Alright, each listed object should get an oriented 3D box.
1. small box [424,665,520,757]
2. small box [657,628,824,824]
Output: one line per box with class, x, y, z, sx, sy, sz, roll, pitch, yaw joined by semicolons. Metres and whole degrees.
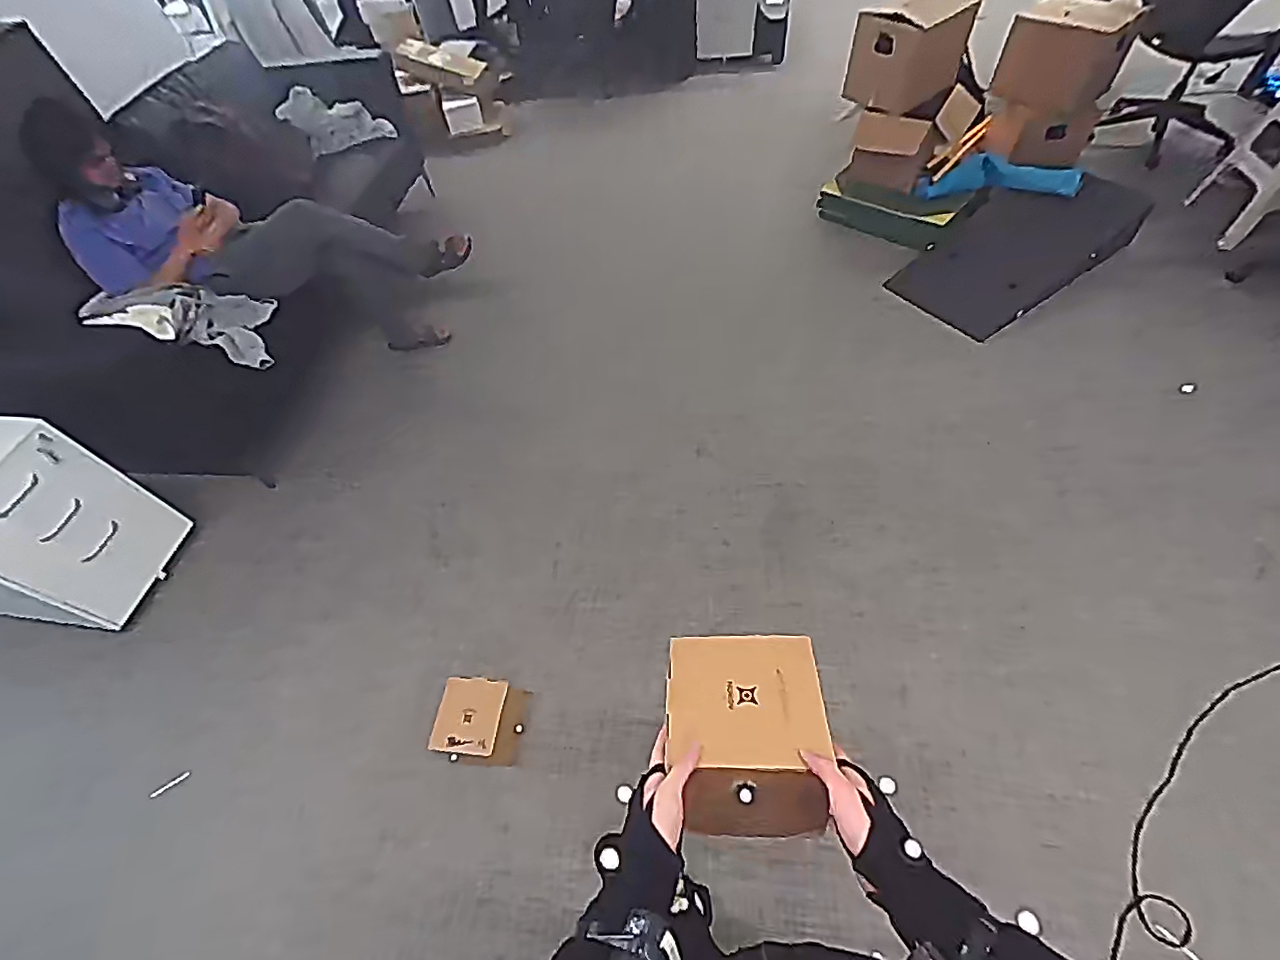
small box;-0.426;0.603;1.407;0.168;0.176;0.179;3;55;9
small box;0.117;0.303;0.671;0.179;0.176;0.168;-2;37;6
